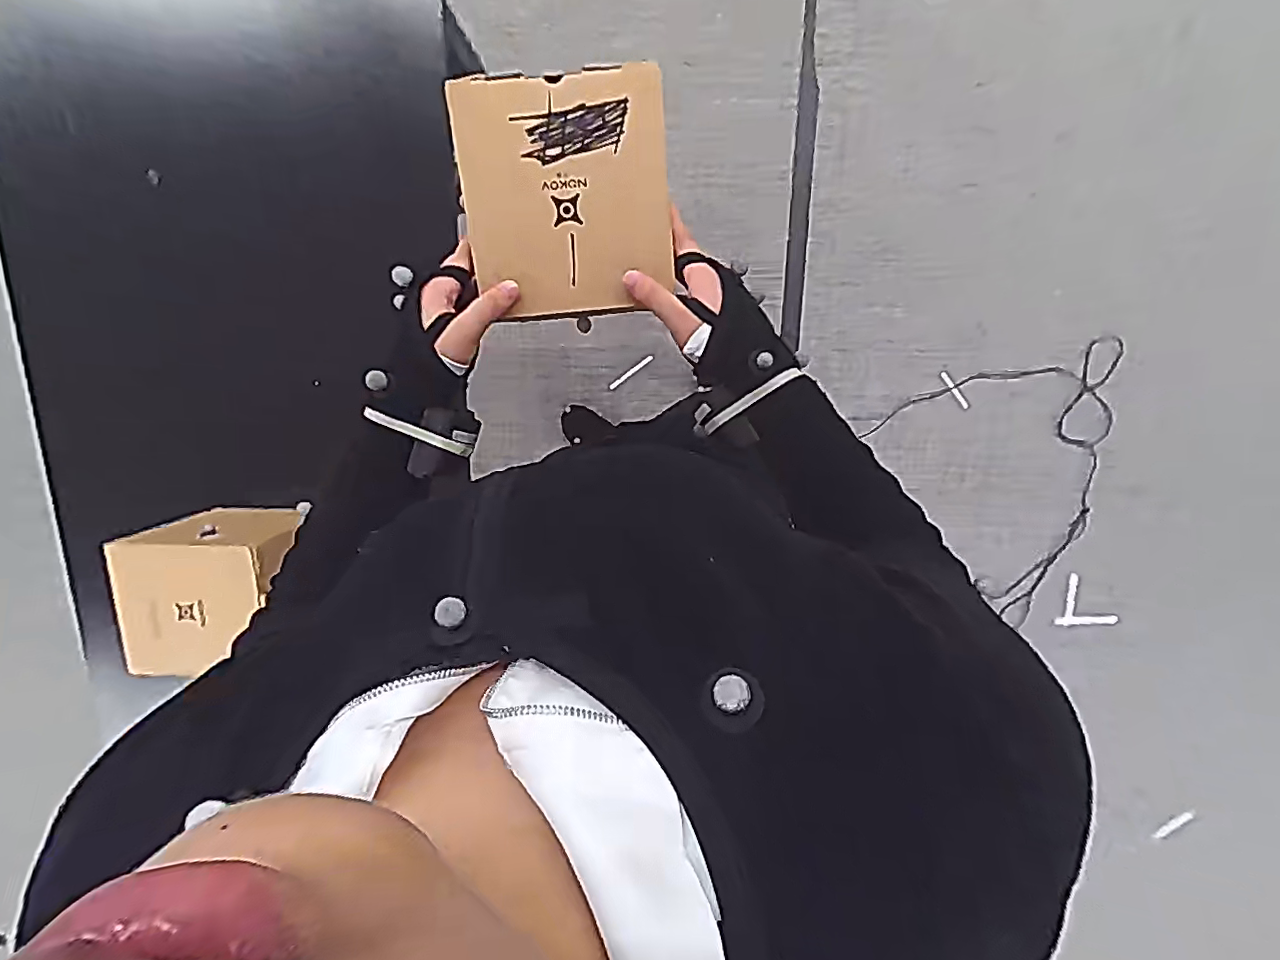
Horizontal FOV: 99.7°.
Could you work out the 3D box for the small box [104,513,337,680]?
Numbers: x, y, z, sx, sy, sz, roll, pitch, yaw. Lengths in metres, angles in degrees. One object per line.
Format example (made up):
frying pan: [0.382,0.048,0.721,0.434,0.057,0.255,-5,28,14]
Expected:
small box: [-0.523,0.141,0.707,0.179,0.176,0.168,0,100,2]

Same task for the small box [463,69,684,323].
small box: [-0.052,-0.244,0.507,0.168,0.176,0.179,-4,106,-1]
